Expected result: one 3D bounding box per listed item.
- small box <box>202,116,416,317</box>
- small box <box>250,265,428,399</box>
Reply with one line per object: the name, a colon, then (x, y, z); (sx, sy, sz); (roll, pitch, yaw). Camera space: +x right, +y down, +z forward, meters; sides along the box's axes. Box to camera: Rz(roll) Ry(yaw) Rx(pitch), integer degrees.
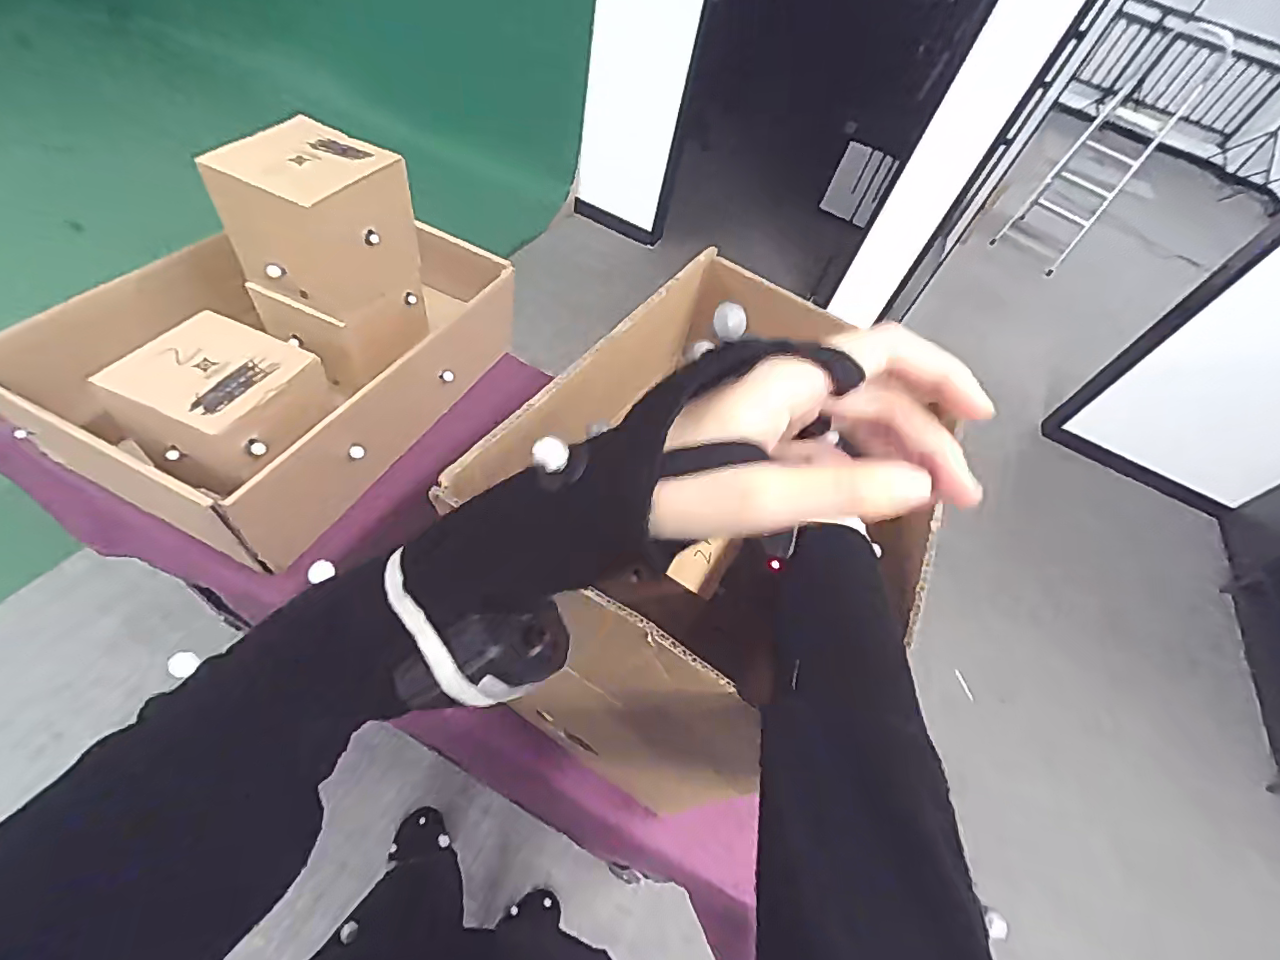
small box: (-0.436, -0.363, 0.754); (0.168, 0.176, 0.179); (24, 54, 6)
small box: (-0.469, -0.262, 0.879); (0.168, 0.176, 0.179); (24, 52, 5)
